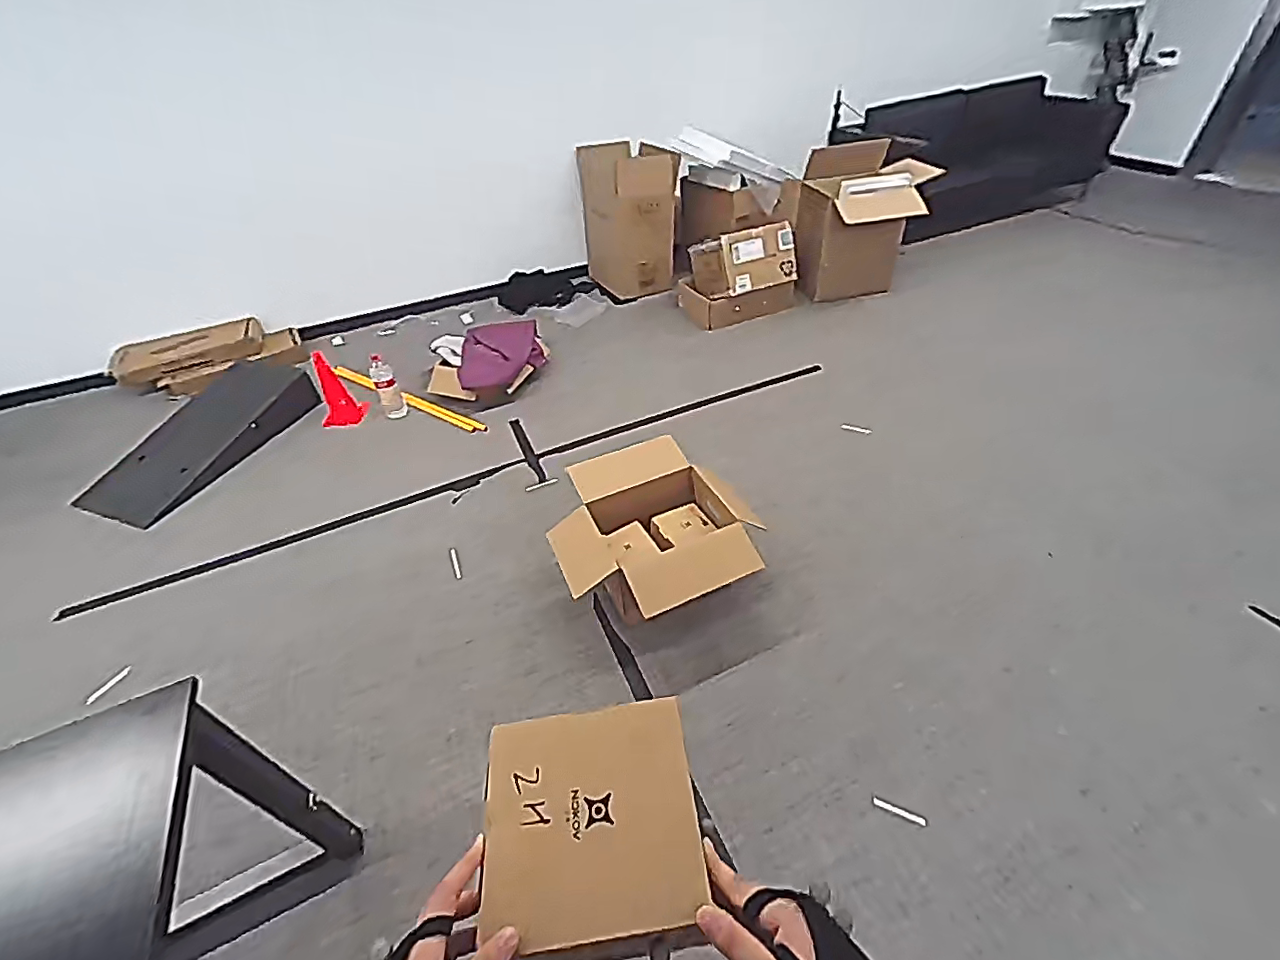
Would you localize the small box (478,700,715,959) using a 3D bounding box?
[{"bbox_3d":[-0.033,0.329,0.501,0.179,0.176,0.168,-10,45,-1],"label":"small box"}]
